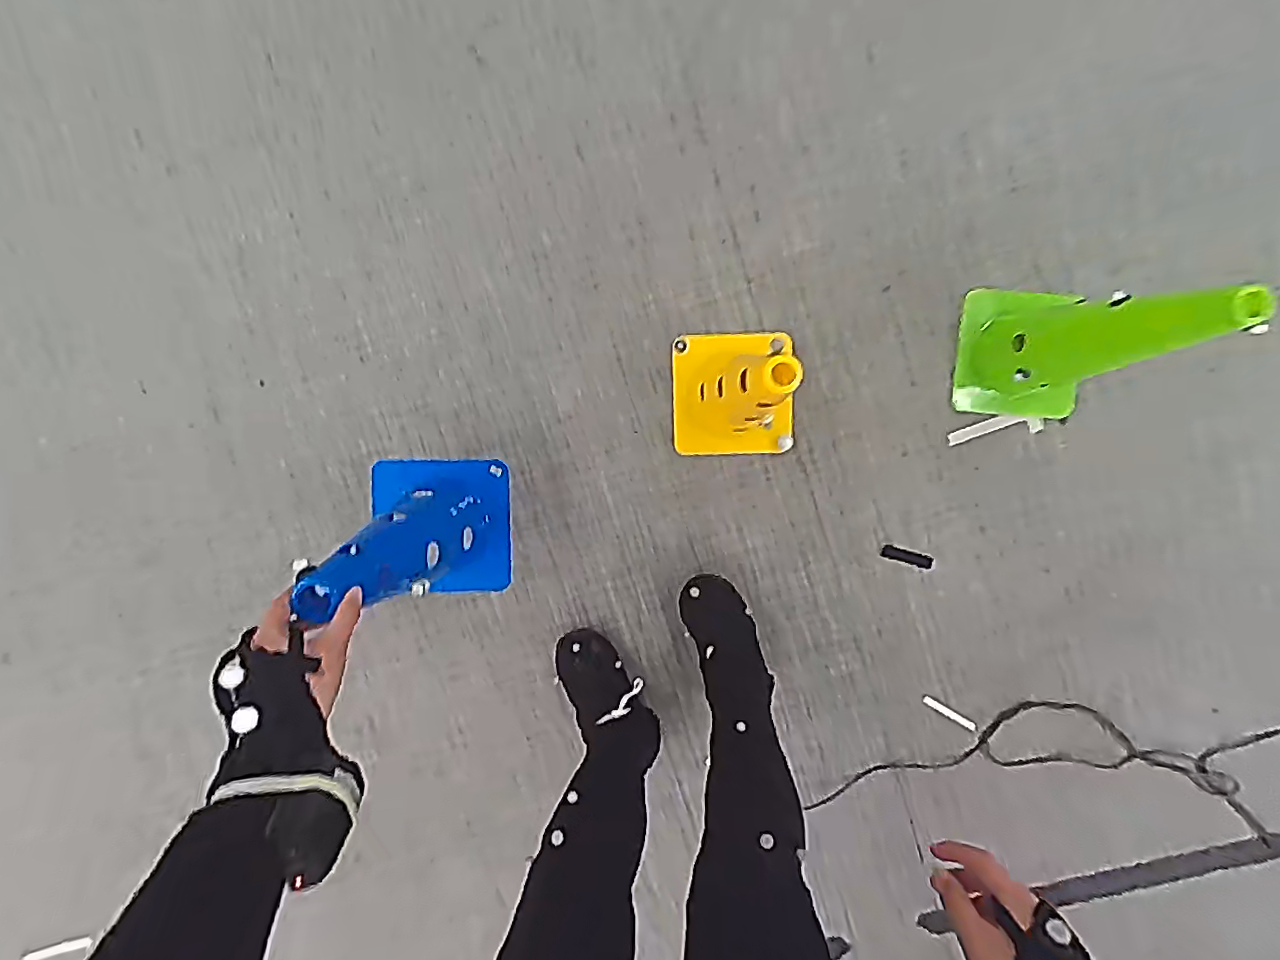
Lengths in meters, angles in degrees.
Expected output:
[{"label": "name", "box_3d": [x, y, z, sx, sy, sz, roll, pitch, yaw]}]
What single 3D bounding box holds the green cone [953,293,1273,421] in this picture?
[{"label": "green cone", "box_3d": [0.620, -0.186, 0.722, 0.200, 0.368, 0.202, 4, 96, 1]}]
